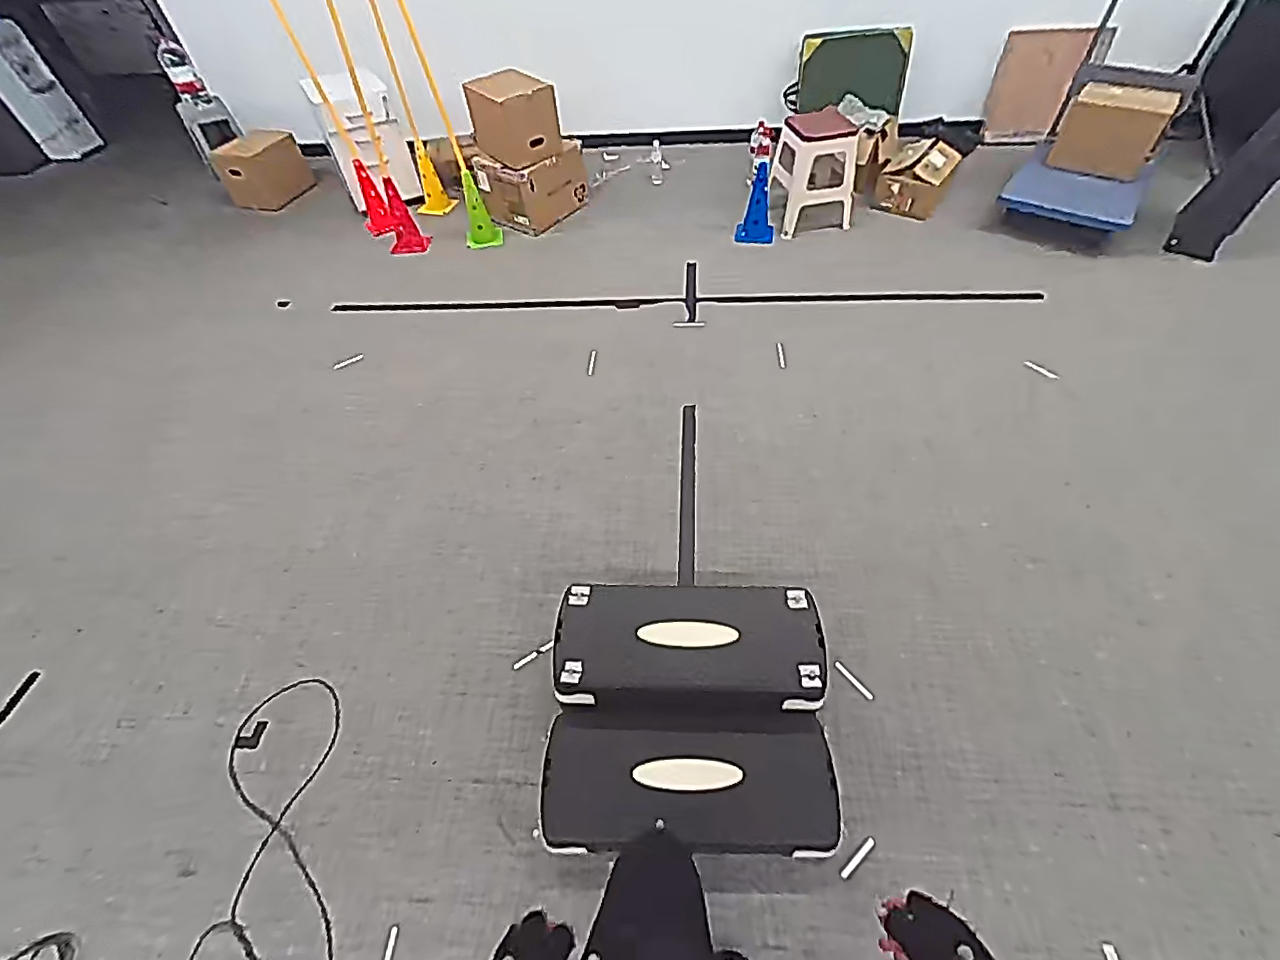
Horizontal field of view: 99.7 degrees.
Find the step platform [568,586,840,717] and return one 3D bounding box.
[{"bbox_3d":[0.155,0.439,1.410,0.684,0.204,0.286,0,51,2],"label":"step platform"}]
